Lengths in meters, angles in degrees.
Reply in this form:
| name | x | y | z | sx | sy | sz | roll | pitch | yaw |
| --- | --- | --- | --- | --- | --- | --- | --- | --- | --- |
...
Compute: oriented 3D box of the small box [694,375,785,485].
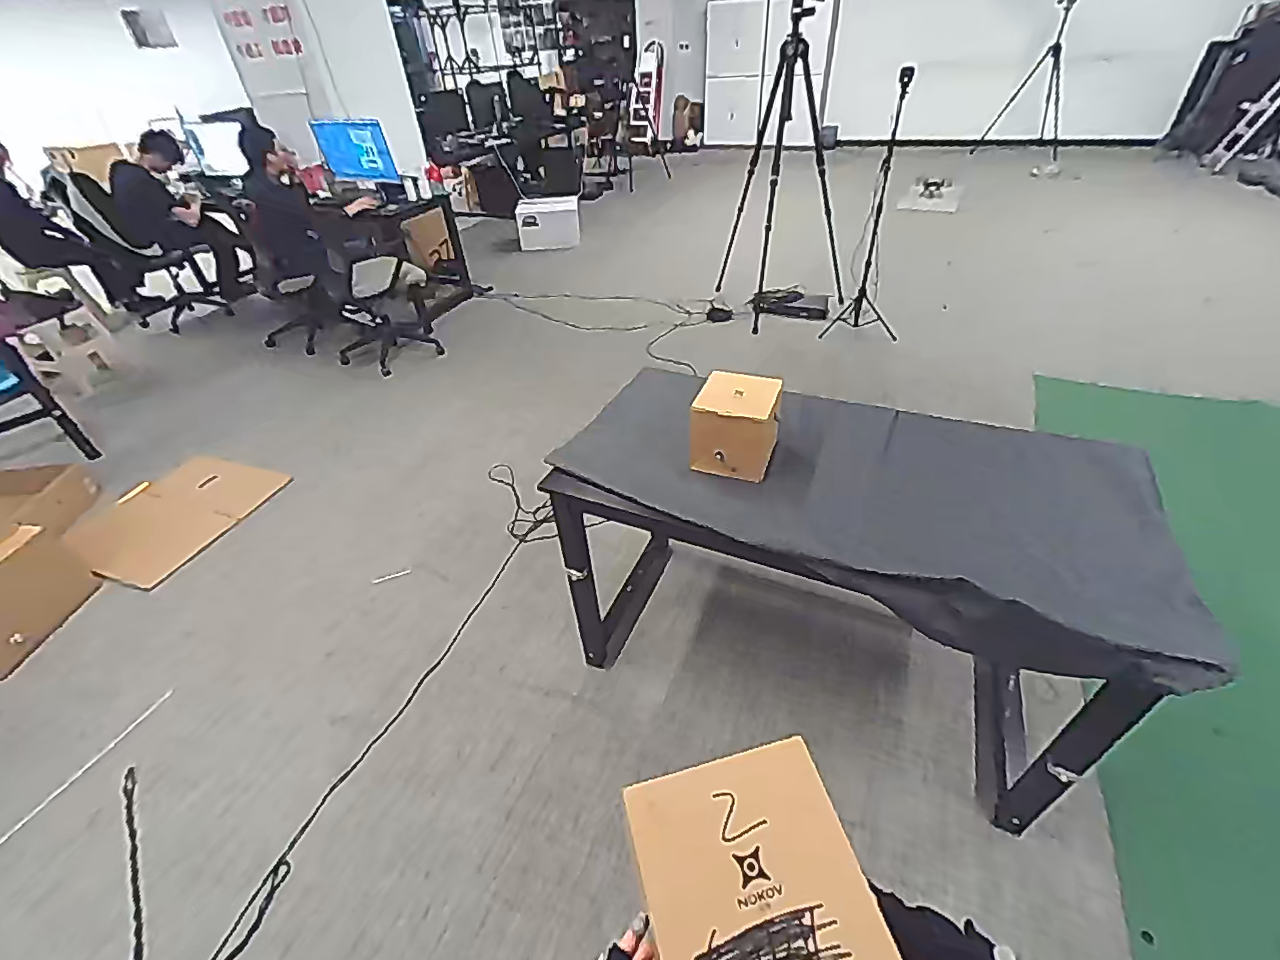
| name | x | y | z | sx | sy | sz | roll | pitch | yaw |
| --- | --- | --- | --- | --- | --- | --- | --- | --- | --- |
| small box | 0.224 | -0.116 | 1.240 | 0.168 | 0.176 | 0.179 | 13 | 43 | 19 |
